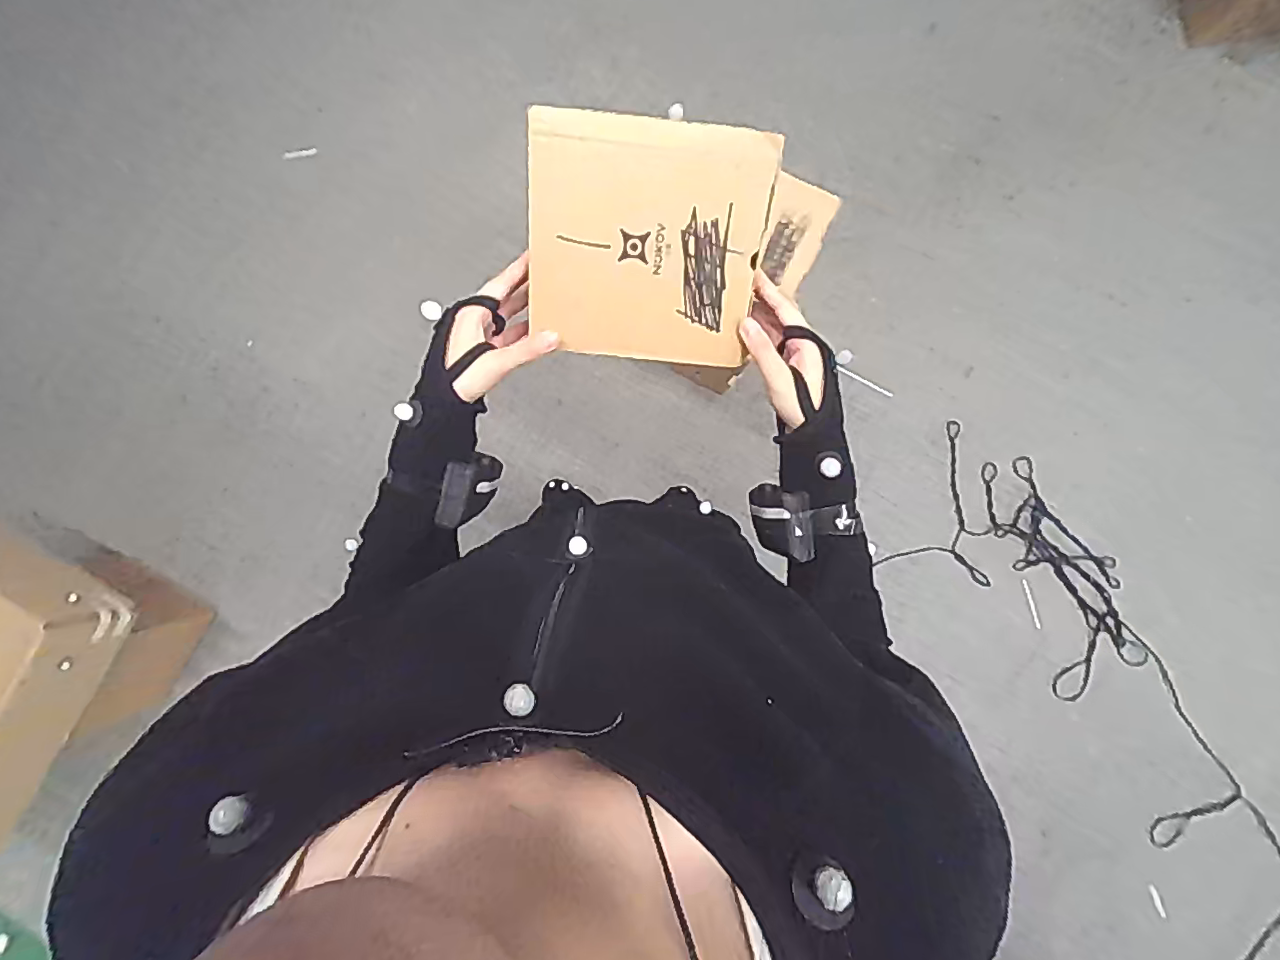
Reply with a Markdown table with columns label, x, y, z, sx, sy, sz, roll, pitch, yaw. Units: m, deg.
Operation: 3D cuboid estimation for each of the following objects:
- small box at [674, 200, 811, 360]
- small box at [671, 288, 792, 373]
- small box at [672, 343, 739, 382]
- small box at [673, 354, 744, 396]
| label | x | y | z | sx | sy | sz | roll | pitch | yaw |
| --- | --- | --- | --- | --- | --- | --- | --- | --- | --- |
| small box | 0.164 | -0.333 | 0.936 | 0.168 | 0.176 | 0.179 | 27 | 91 | 2 |
| small box | 0.176 | -0.332 | 1.098 | 0.179 | 0.176 | 0.168 | 27 | 91 | 1 |
| small box | 0.185 | -0.345 | 1.261 | 0.179 | 0.176 | 0.168 | 29 | 91 | 2 |
| small box | 0.198 | -0.338 | 1.425 | 0.179 | 0.176 | 0.168 | 29 | 90 | 1 |
